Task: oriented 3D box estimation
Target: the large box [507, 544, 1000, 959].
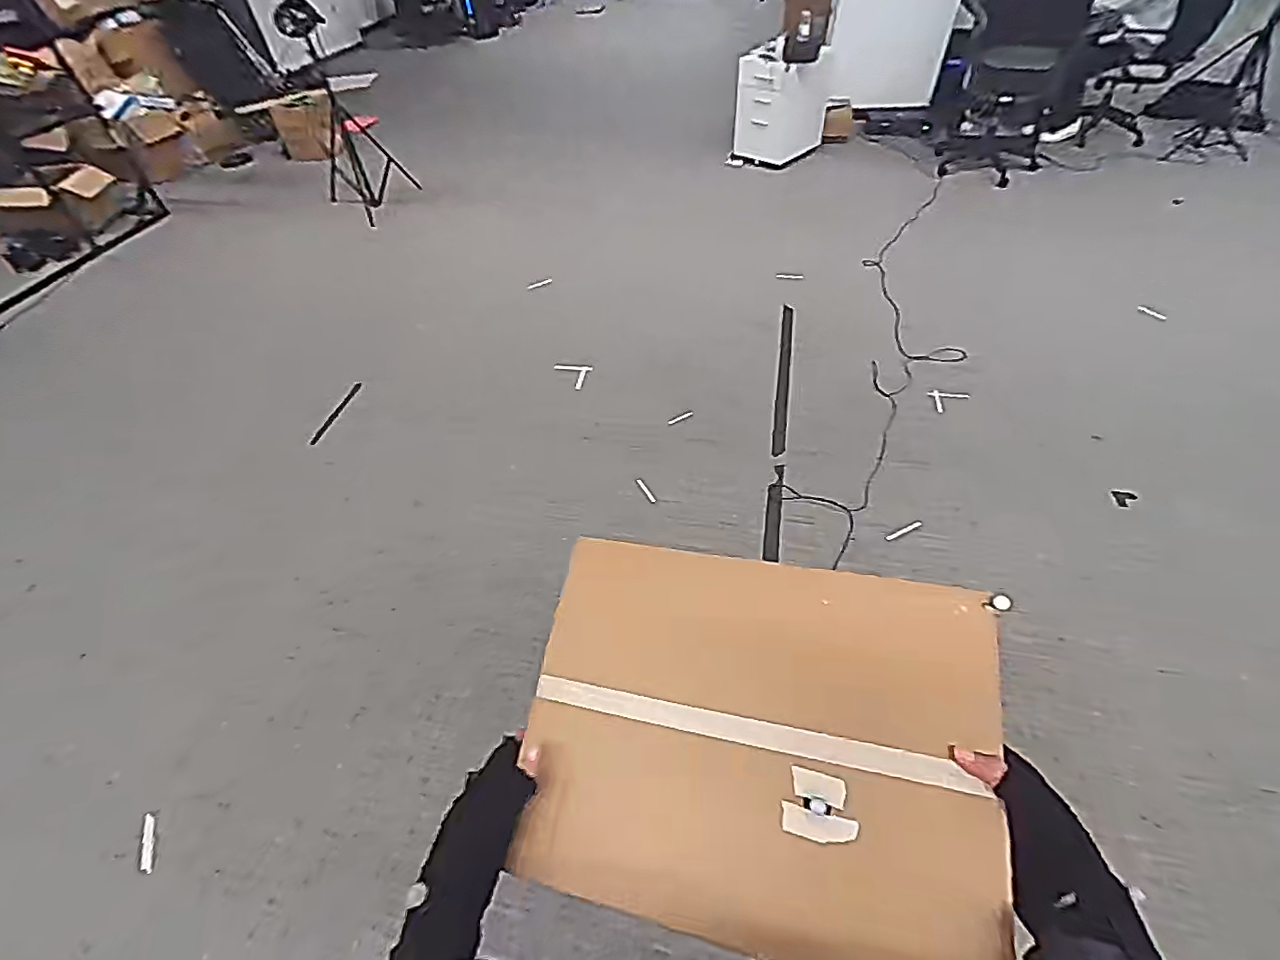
[{"bbox_3d":[0.124,0.287,0.627,0.408,0.320,0.320,6,67,15],"label":"large box"}]
